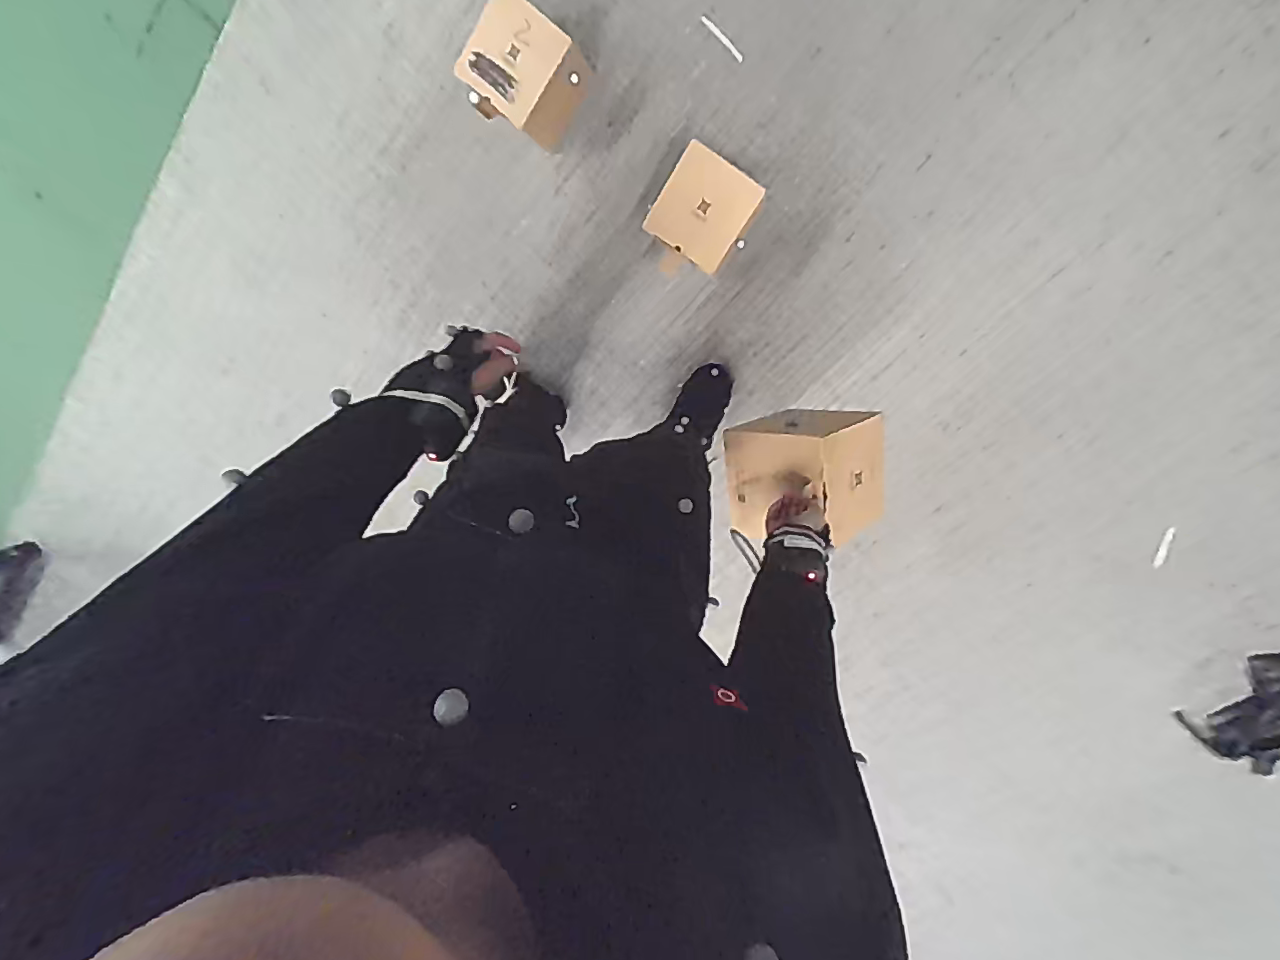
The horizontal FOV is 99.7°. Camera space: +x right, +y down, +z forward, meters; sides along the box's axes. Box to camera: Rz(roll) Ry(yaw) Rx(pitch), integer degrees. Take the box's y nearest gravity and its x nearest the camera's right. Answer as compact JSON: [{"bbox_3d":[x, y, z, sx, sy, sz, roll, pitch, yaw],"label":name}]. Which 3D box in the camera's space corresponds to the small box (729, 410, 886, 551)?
[{"bbox_3d":[0.248,-0.010,0.816,0.176,0.179,0.168,10,113,48],"label":"small box"}]

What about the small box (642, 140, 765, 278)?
[{"bbox_3d":[0.127,-0.525,1.075,0.168,0.176,0.179,35,111,-2],"label":"small box"}]
